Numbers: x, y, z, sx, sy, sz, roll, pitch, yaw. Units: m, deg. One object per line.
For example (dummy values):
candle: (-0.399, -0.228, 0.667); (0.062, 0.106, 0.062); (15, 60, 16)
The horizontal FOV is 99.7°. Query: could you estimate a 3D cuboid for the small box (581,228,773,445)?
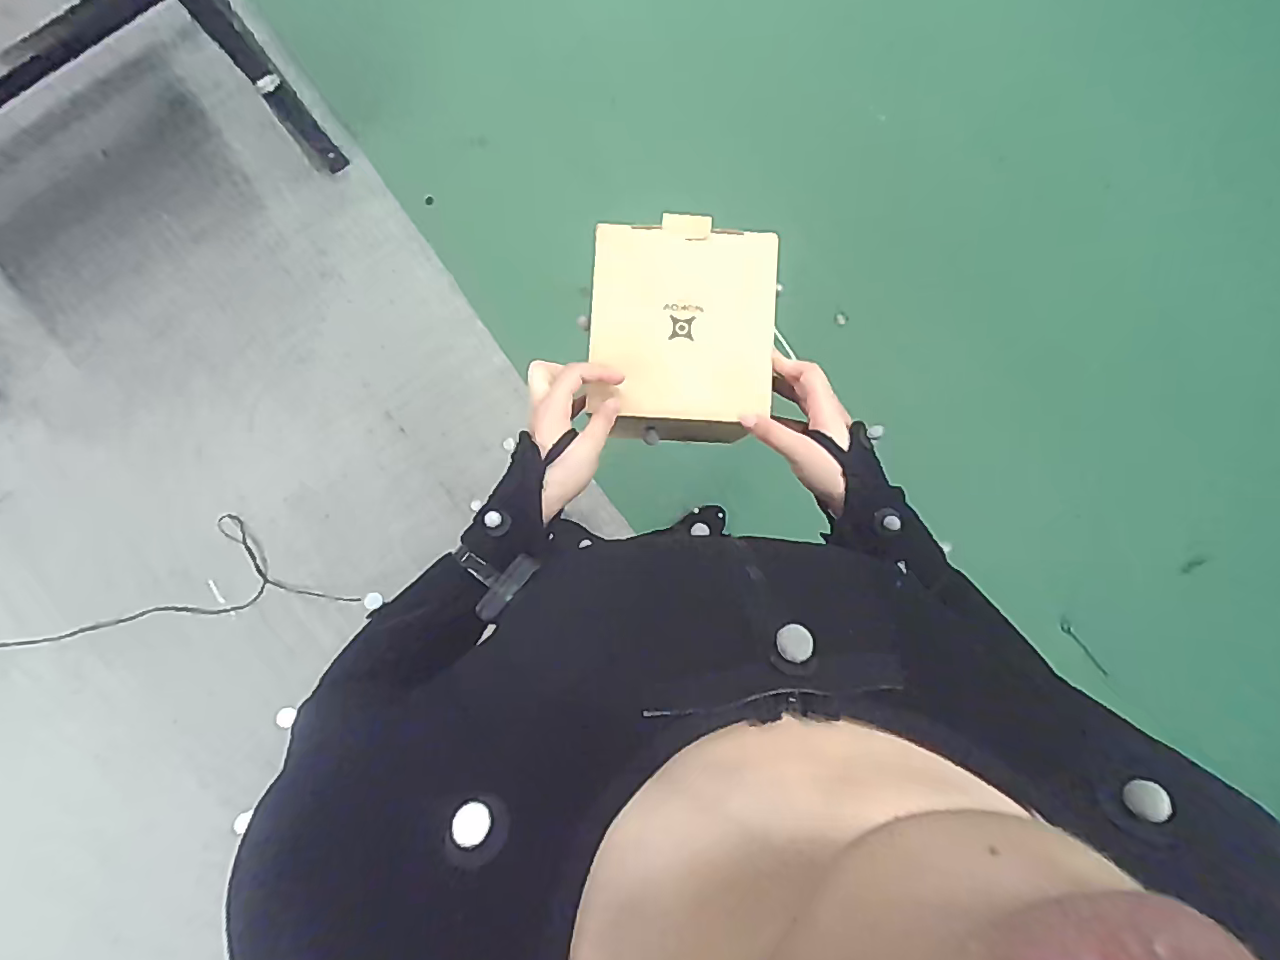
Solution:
small box: (0.034, -0.132, 0.557); (0.168, 0.176, 0.179); (2, 87, 0)
